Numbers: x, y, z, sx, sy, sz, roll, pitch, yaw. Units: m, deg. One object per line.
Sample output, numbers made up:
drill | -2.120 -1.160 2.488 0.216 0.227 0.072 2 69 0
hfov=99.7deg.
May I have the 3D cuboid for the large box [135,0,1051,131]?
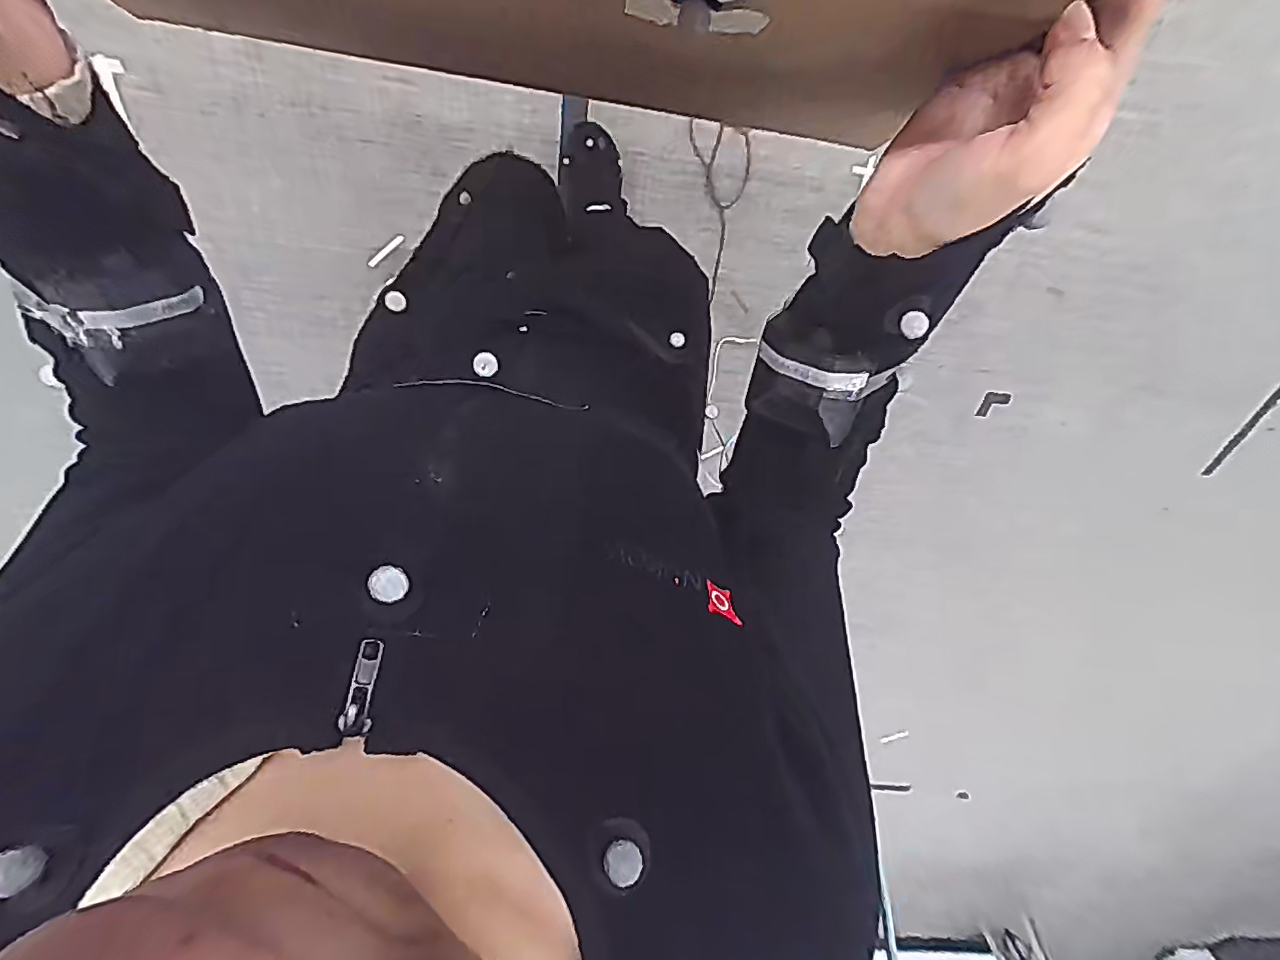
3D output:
large box | -0.023 -0.343 0.130 0.408 0.320 0.320 4 102 -8
